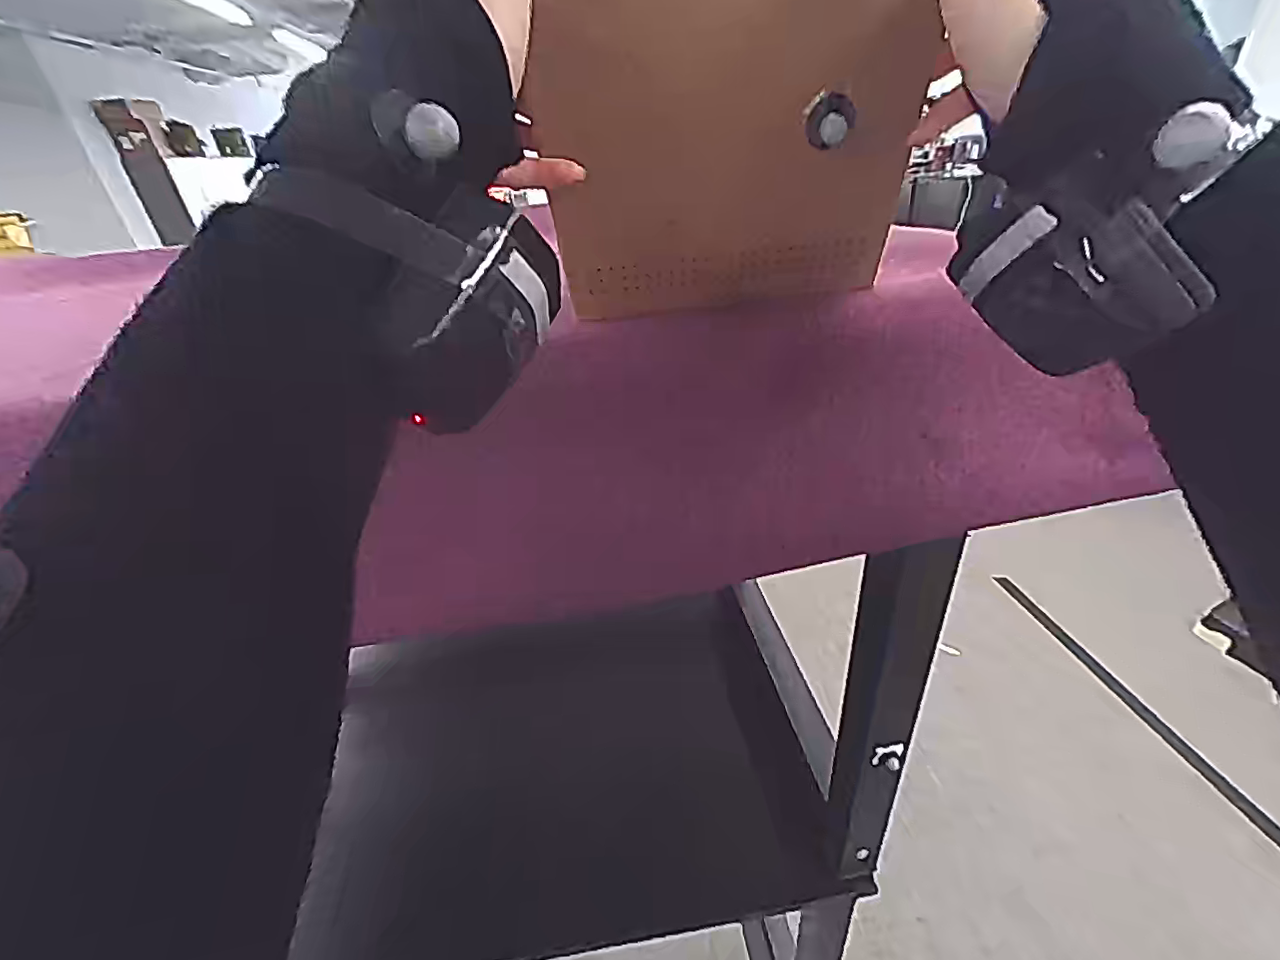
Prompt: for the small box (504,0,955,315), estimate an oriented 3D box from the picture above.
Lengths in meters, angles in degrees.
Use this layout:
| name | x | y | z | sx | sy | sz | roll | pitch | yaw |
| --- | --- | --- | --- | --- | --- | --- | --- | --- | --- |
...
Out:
| name | x | y | z | sx | sy | sz | roll | pitch | yaw |
| --- | --- | --- | --- | --- | --- | --- | --- | --- | --- |
| small box | 0.036 | -0.211 | 0.291 | 0.179 | 0.176 | 0.168 | -6 | 51 | 2 |
